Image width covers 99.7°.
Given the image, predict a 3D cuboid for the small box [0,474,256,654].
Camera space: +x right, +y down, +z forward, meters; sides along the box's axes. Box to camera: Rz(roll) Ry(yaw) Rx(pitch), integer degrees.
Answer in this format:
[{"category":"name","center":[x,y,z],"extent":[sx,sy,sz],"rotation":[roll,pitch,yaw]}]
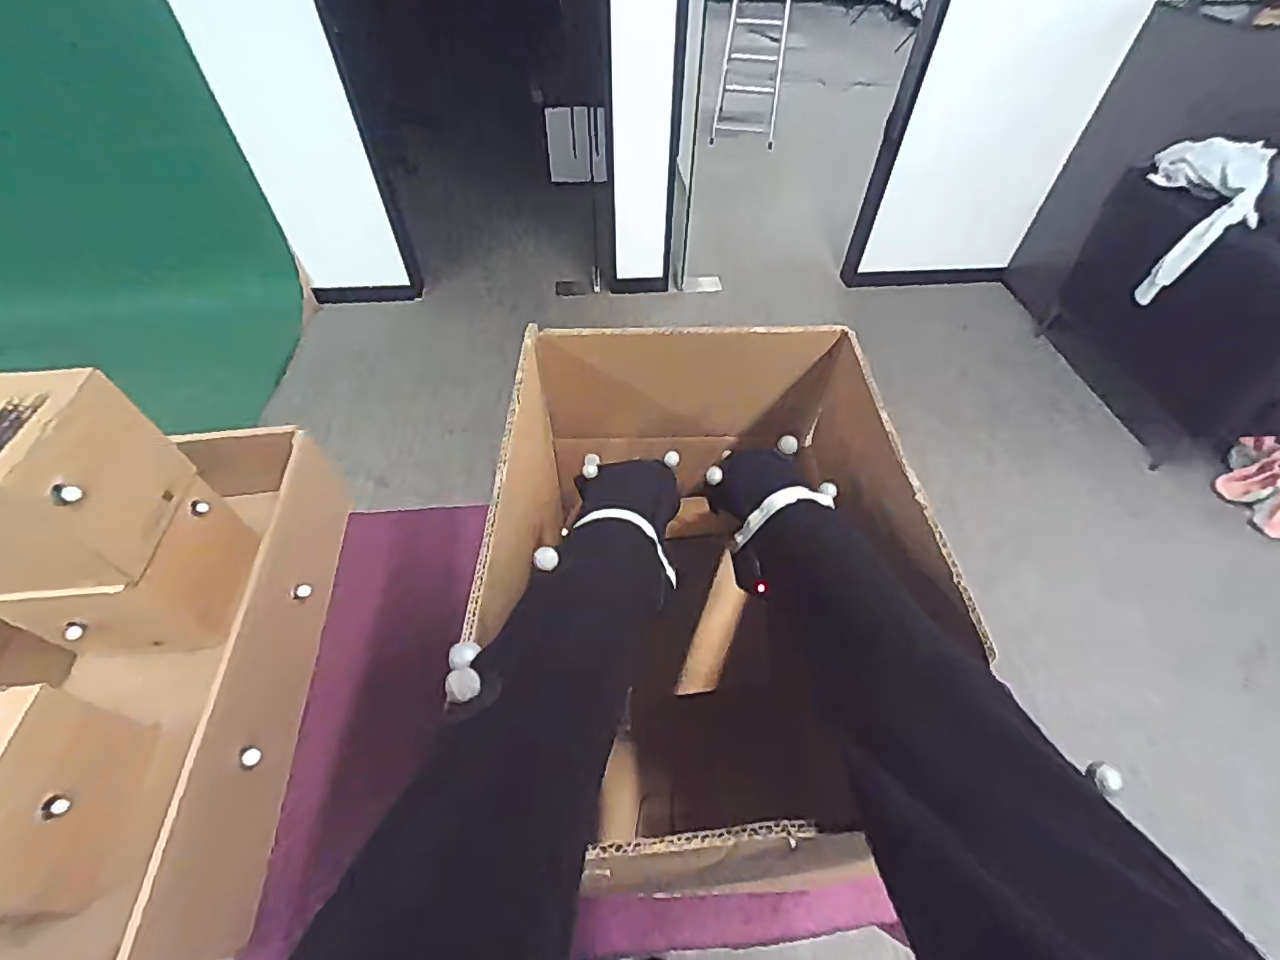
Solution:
[{"category":"small box","center":[-0.648,0.115,0.702],"extent":[0.168,0.176,0.179],"rotation":[-4,51,-3]}]
